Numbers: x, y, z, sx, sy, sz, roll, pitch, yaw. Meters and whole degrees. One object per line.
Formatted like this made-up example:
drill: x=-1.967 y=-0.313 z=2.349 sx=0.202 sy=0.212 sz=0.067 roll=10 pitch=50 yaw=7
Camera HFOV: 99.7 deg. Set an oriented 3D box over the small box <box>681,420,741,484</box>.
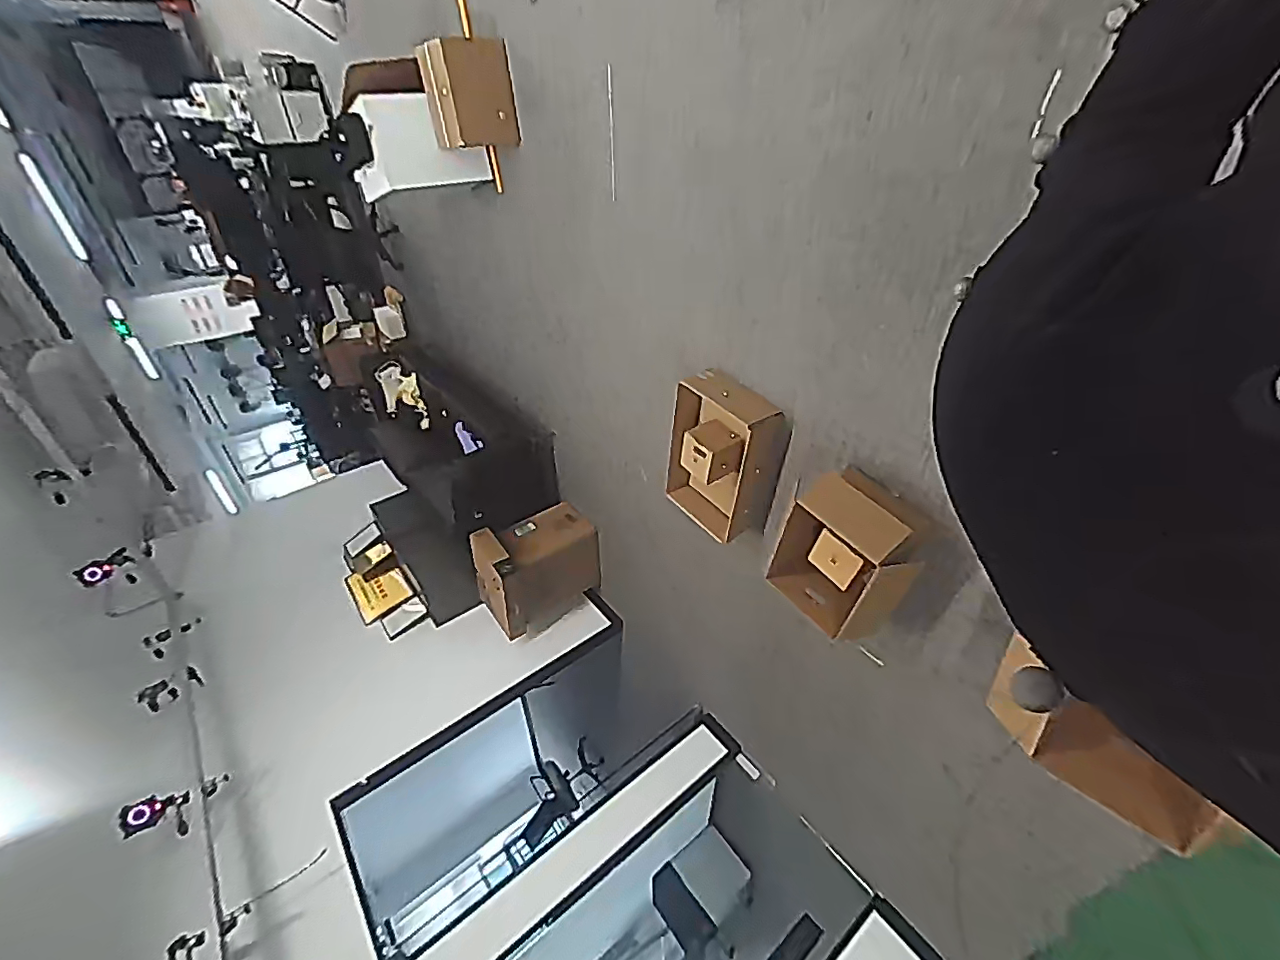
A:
small box: x=0.289 y=-0.119 z=2.195 sx=0.168 sy=0.176 sz=0.179 roll=44 pitch=146 yaw=34
